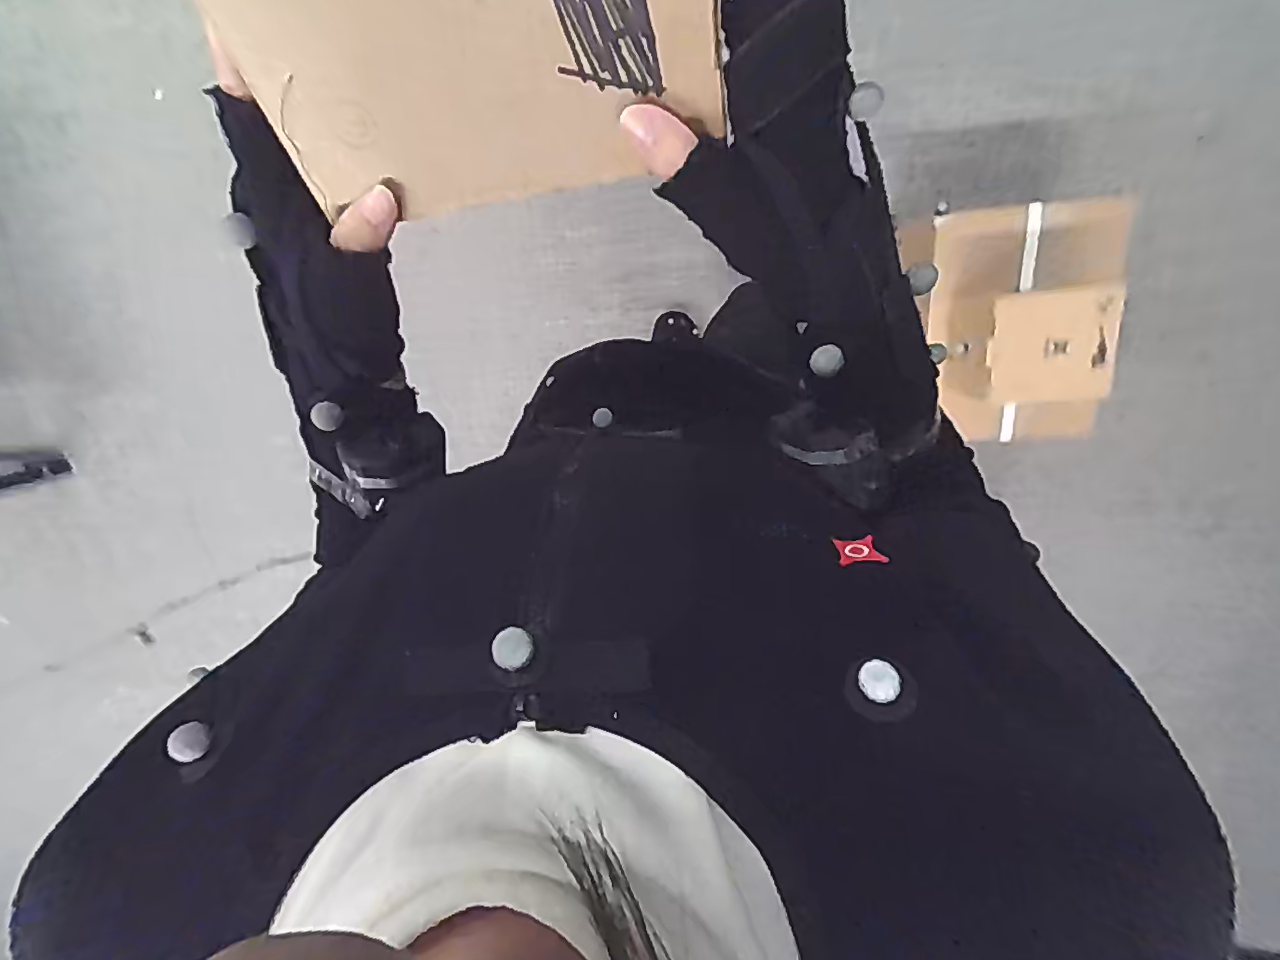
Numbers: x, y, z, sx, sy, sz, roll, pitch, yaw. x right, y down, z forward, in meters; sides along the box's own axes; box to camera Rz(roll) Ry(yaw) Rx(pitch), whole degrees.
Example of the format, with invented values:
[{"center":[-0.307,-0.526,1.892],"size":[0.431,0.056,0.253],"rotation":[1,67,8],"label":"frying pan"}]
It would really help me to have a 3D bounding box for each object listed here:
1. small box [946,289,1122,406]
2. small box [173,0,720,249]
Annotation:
[{"center":[0.631,-0.221,0.894],"size":[0.179,0.176,0.168],"rotation":[-2,108,9],"label":"small box"},{"center":[-0.072,-0.232,0.225],"size":[0.179,0.176,0.168],"rotation":[-10,139,10],"label":"small box"}]
